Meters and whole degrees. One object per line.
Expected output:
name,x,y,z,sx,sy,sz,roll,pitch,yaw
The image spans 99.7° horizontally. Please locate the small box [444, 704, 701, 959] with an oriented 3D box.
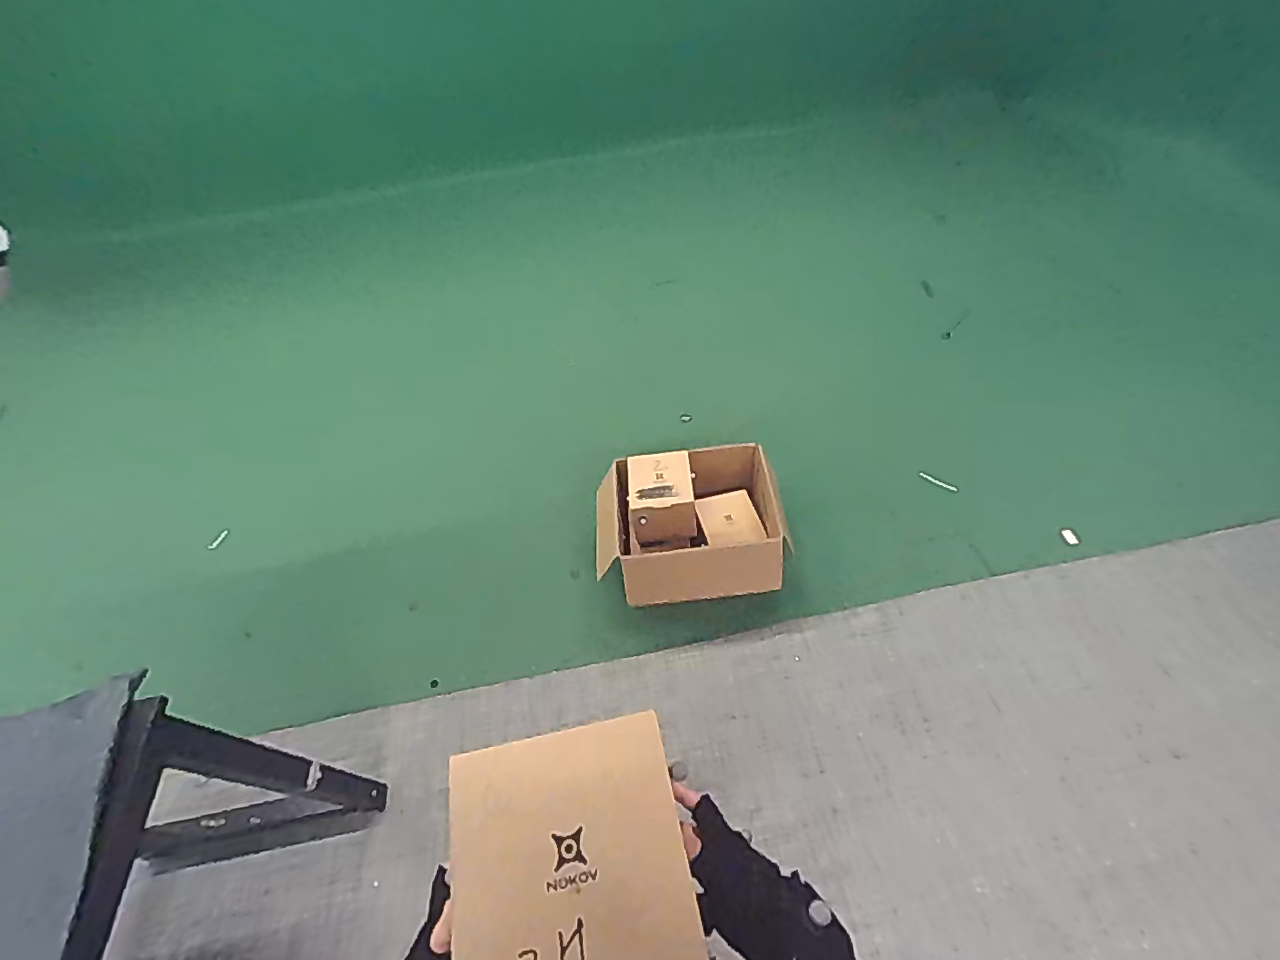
small box,-0.054,0.309,0.447,0.168,0.176,0.179,-10,56,-6
